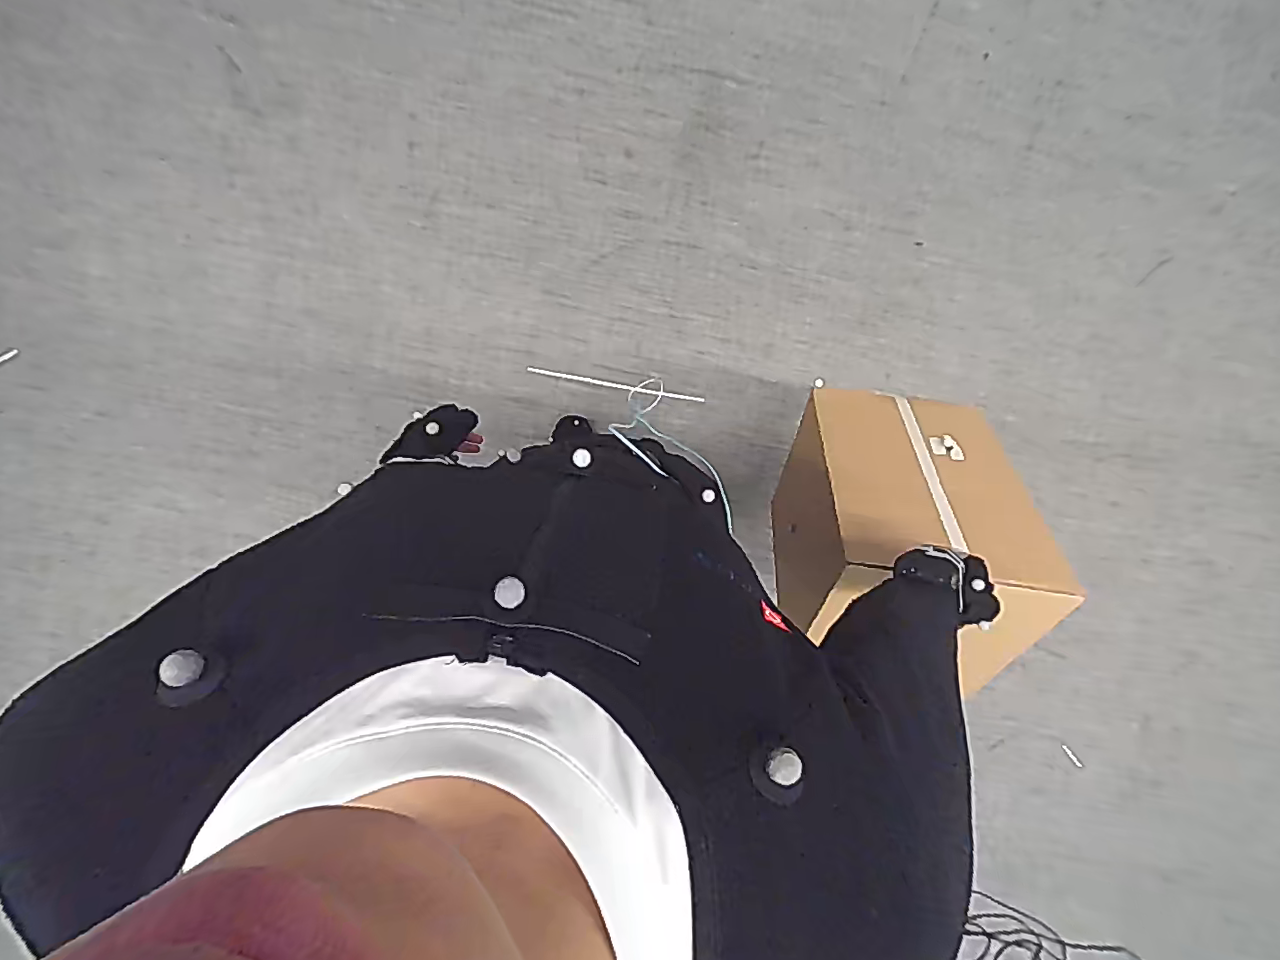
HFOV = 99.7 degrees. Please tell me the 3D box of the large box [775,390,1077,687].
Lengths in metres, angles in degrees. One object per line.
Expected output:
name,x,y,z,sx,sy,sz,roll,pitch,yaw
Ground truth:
large box,0.436,0.096,0.956,0.320,0.408,0.320,9,134,1
